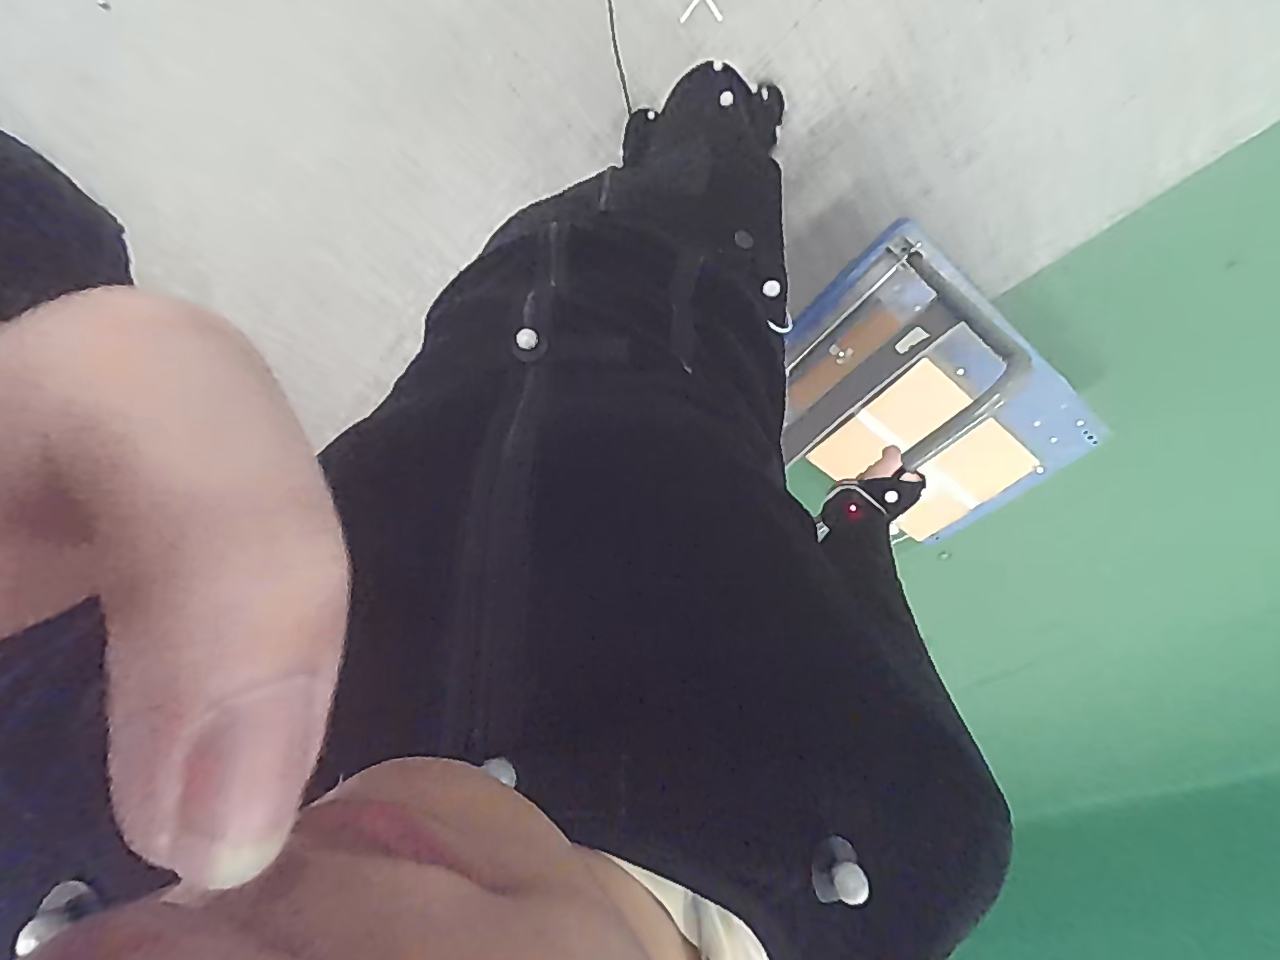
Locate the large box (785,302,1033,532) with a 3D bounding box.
[{"bbox_3d":[0.619,-0.151,1.310,0.408,0.320,0.320,32,125,-19],"label":"large box"}]
